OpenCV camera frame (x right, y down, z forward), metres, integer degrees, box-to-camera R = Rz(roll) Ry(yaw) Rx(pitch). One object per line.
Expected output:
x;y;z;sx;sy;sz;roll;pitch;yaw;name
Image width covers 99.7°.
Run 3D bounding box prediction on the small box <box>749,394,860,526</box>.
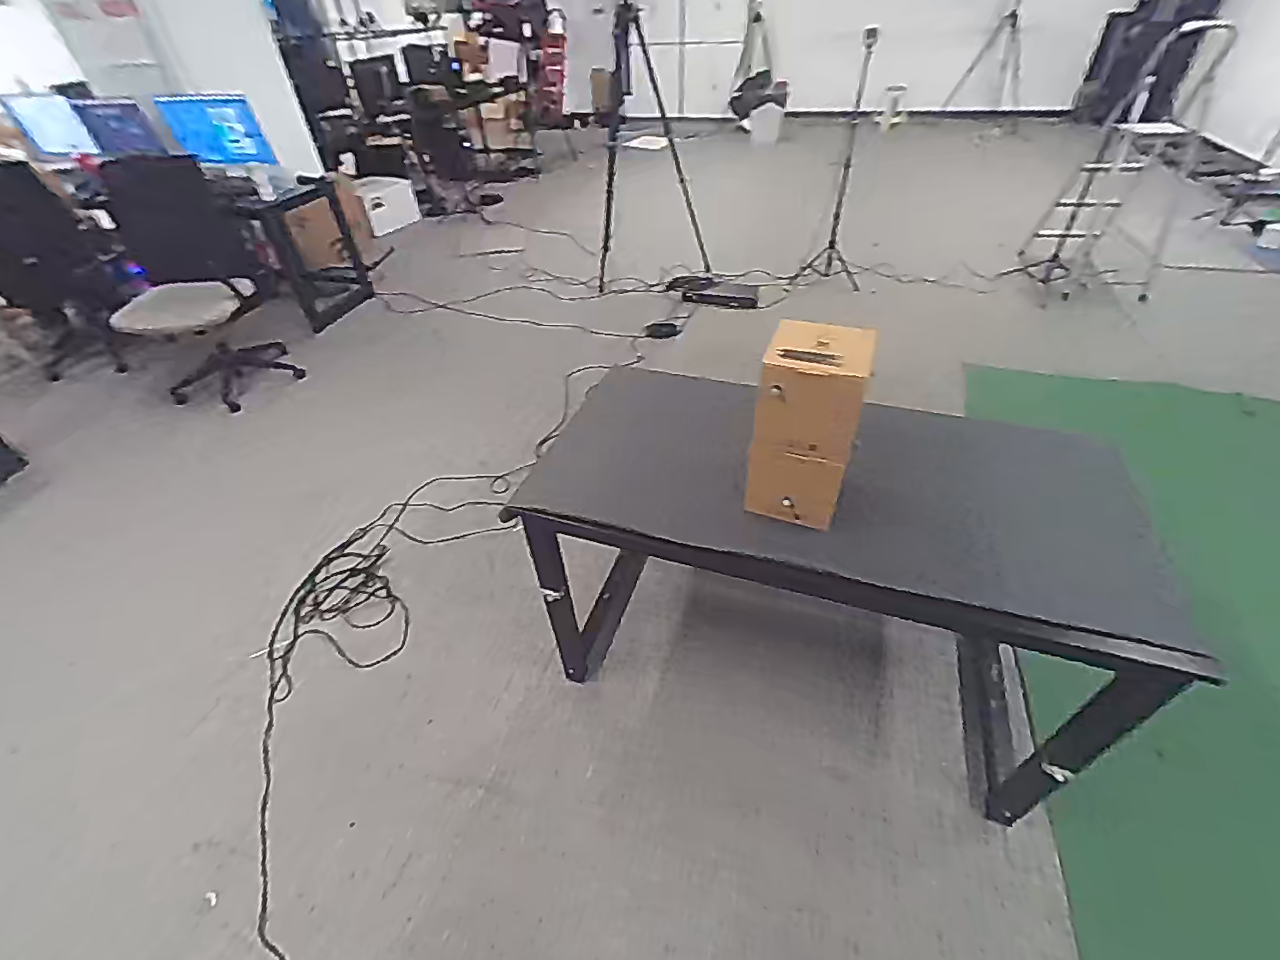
0.316;-0.041;1.056;0.168;0.176;0.179;15;44;20;small box
